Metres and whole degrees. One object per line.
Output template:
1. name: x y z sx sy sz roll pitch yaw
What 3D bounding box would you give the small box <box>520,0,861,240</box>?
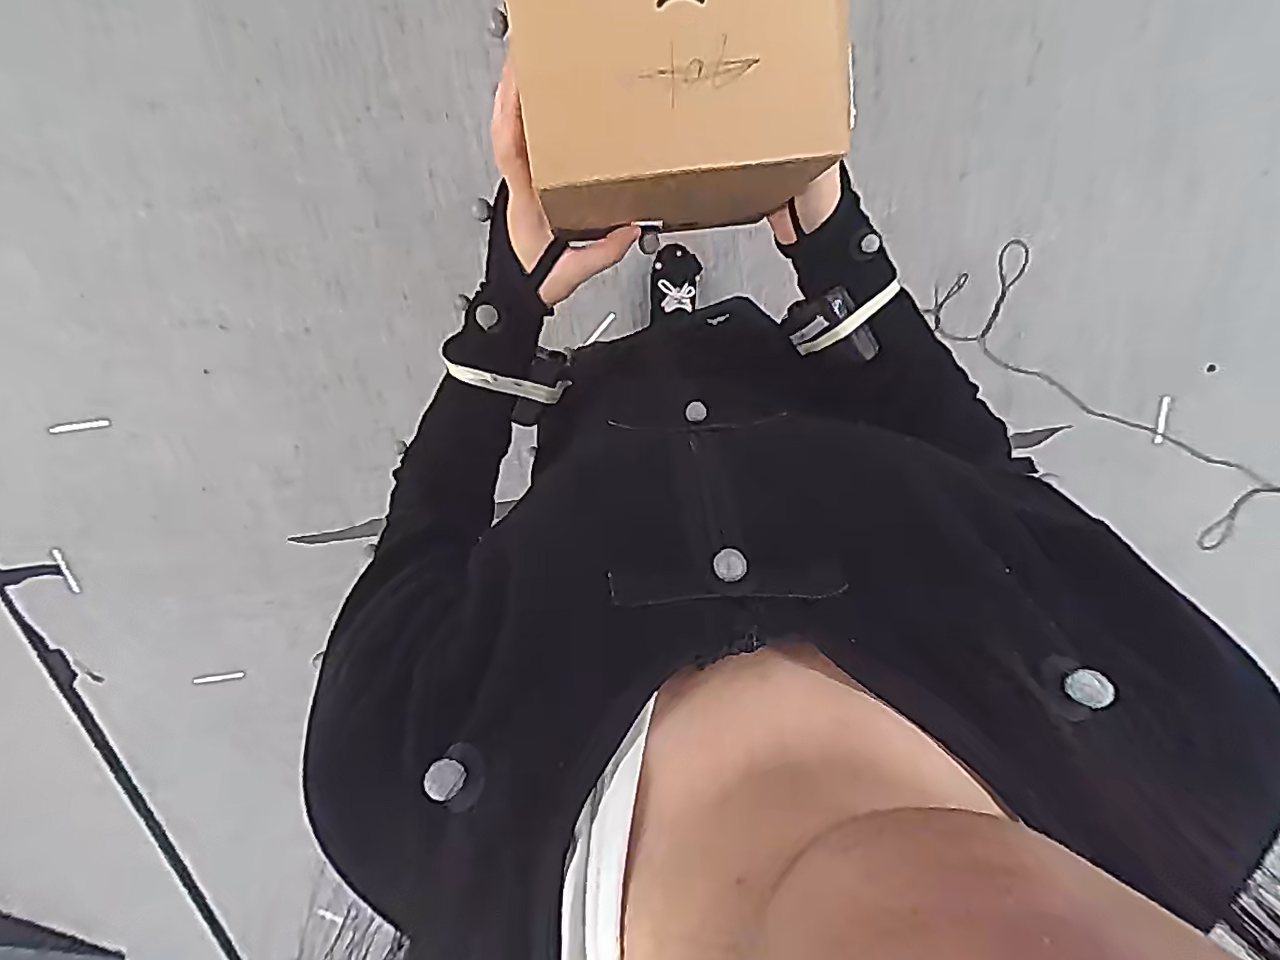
1. small box: 0.016 -0.263 0.331 0.168 0.176 0.179 -8 105 -2
